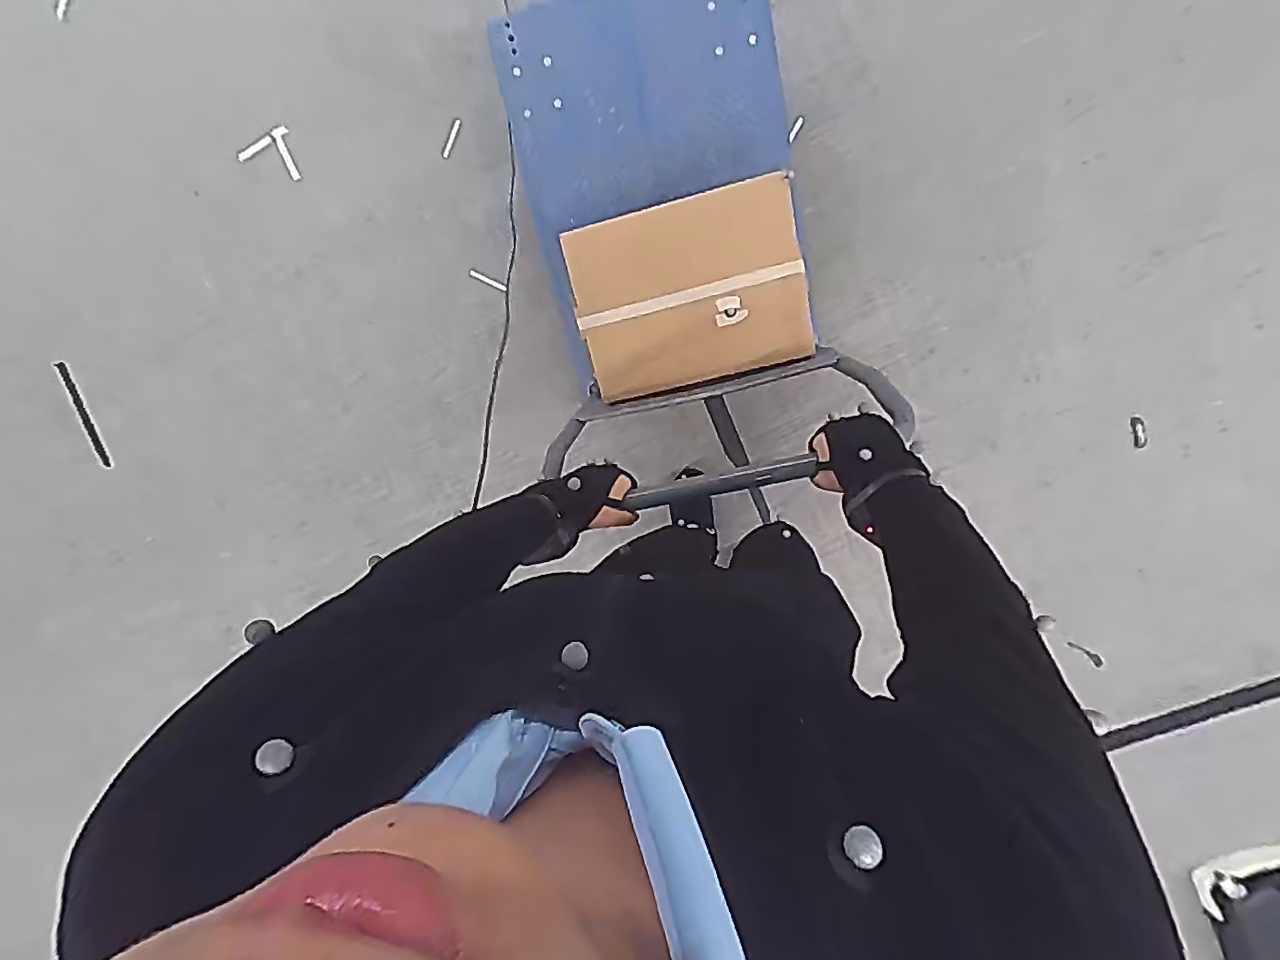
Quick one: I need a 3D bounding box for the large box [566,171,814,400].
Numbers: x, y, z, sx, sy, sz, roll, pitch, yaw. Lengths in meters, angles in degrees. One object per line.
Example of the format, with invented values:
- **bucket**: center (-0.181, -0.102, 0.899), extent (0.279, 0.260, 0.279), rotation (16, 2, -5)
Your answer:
- **large box**: center (0.103, -0.380, 1.127), extent (0.408, 0.320, 0.320), rotation (-13, 105, 8)
